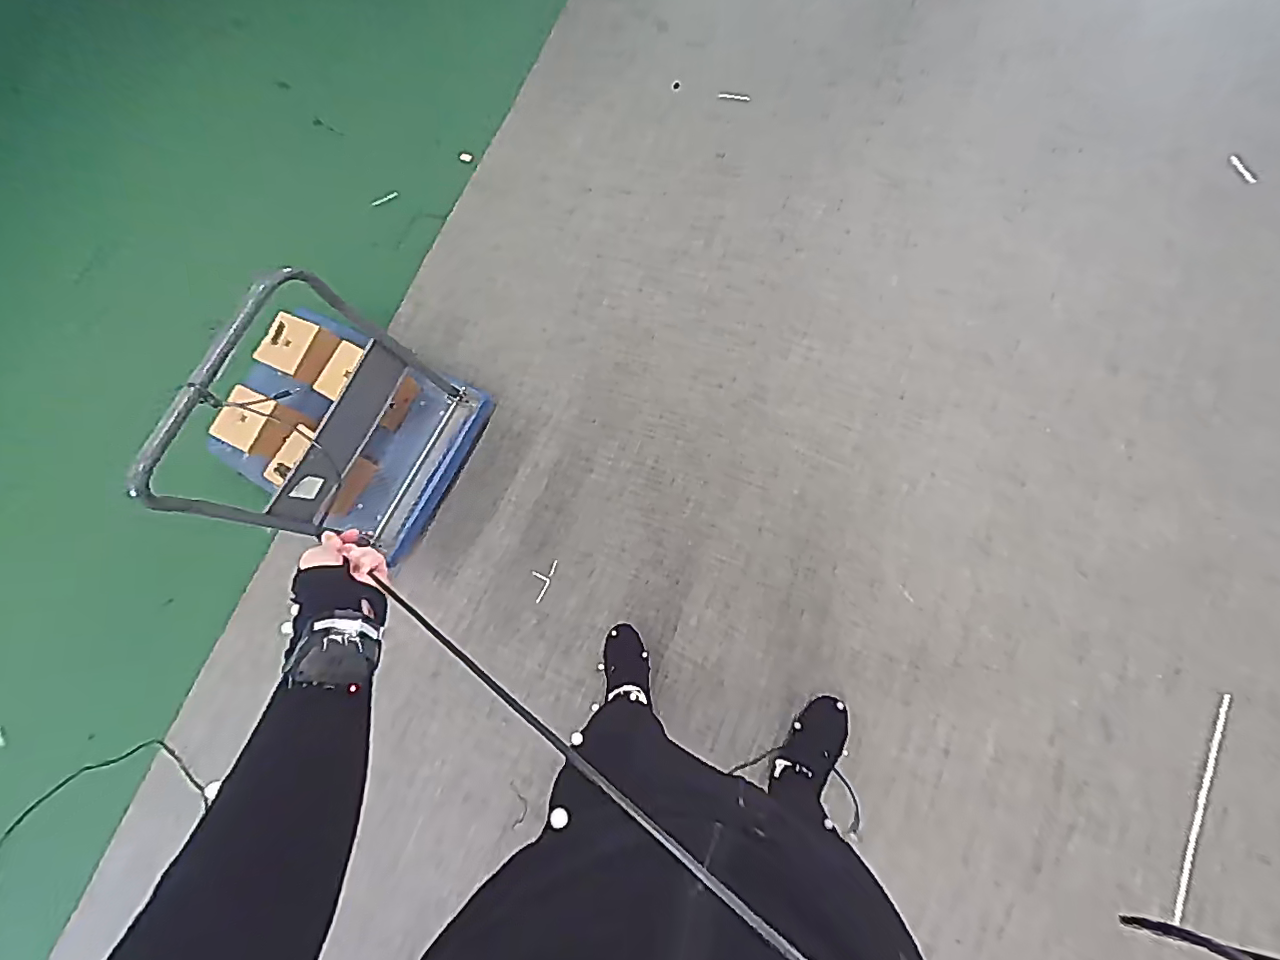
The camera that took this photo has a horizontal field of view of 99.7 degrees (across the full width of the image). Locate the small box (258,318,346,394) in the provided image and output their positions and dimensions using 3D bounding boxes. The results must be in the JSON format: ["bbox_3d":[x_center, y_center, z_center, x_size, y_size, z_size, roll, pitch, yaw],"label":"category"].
[{"bbox_3d":[-1.019,-0.371,1.679,0.179,0.176,0.168,22,82,18],"label":"small box"}]

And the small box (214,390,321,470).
[{"bbox_3d":[-1.122,-0.145,1.642,0.179,0.176,0.168,22,81,19],"label":"small box"}]

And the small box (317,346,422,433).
[{"bbox_3d":[-0.789,-0.260,1.590,0.179,0.176,0.168,27,83,19],"label":"small box"}]
